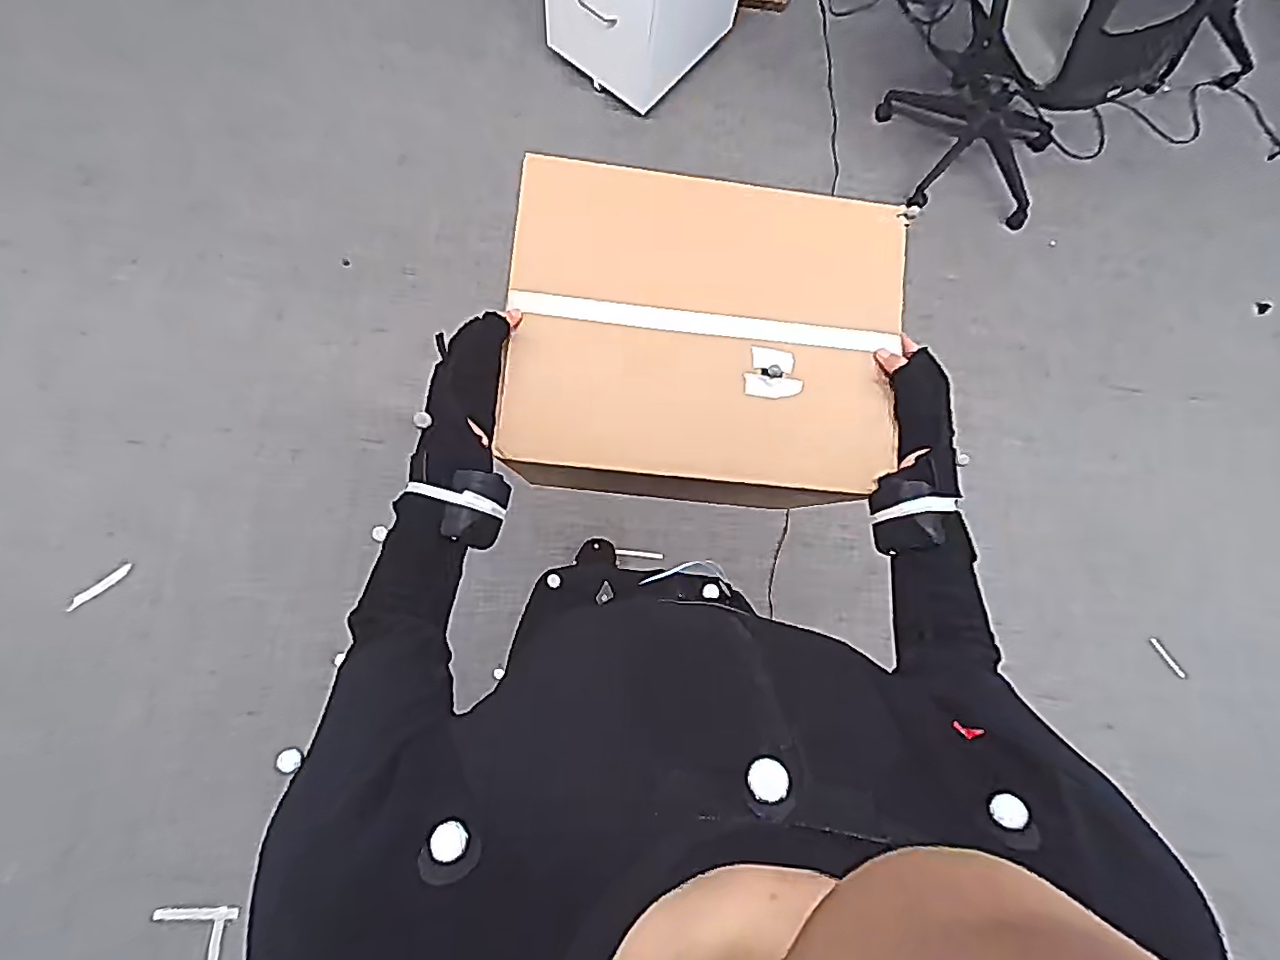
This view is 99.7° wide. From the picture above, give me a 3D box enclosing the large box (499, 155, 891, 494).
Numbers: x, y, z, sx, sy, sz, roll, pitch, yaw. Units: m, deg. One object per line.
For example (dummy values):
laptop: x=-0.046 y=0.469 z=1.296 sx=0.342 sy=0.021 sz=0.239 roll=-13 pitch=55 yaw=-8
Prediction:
large box: x=0.051 y=-0.157 z=0.710 sx=0.408 sy=0.320 sz=0.320 roll=6 pitch=86 yaw=-5
